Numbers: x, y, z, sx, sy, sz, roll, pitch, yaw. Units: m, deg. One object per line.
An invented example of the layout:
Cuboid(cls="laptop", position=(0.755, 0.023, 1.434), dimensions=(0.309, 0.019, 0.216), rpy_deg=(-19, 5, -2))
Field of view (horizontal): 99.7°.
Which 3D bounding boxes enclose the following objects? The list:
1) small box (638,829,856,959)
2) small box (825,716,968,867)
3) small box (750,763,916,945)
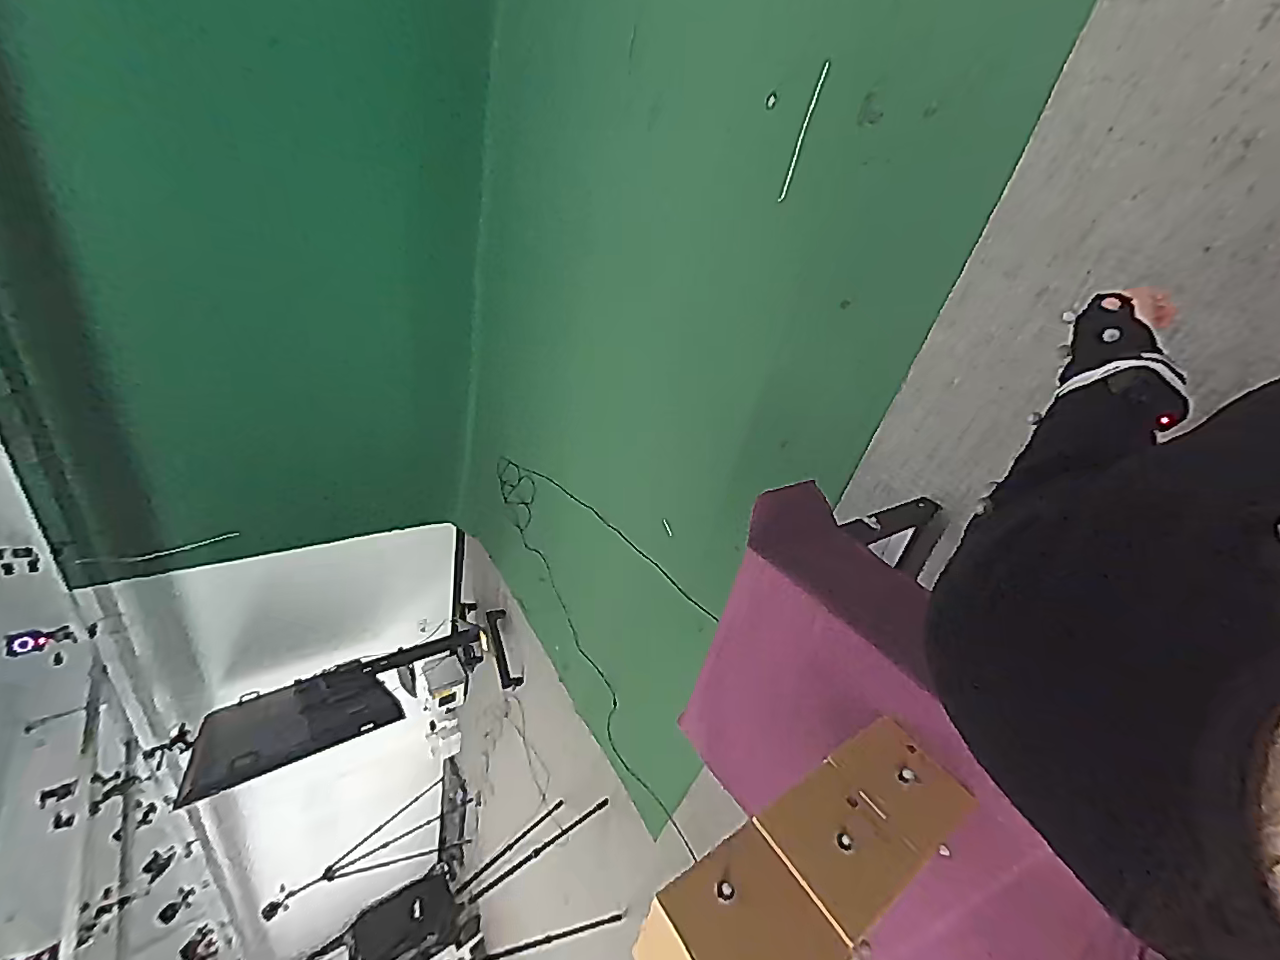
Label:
Cuboid(cls="small box", position=(0.126, 0.577, 0.671), dimensions=(0.179, 0.176, 0.168), rpy_deg=(41, 132, 39))
Cuboid(cls="small box", position=(0.385, 0.517, 0.865), dimensions=(0.168, 0.176, 0.179), rpy_deg=(43, 130, 40))
Cuboid(cls="small box", position=(0.255, 0.545, 0.766), dimensions=(0.168, 0.176, 0.179), rpy_deg=(42, 131, 40))
